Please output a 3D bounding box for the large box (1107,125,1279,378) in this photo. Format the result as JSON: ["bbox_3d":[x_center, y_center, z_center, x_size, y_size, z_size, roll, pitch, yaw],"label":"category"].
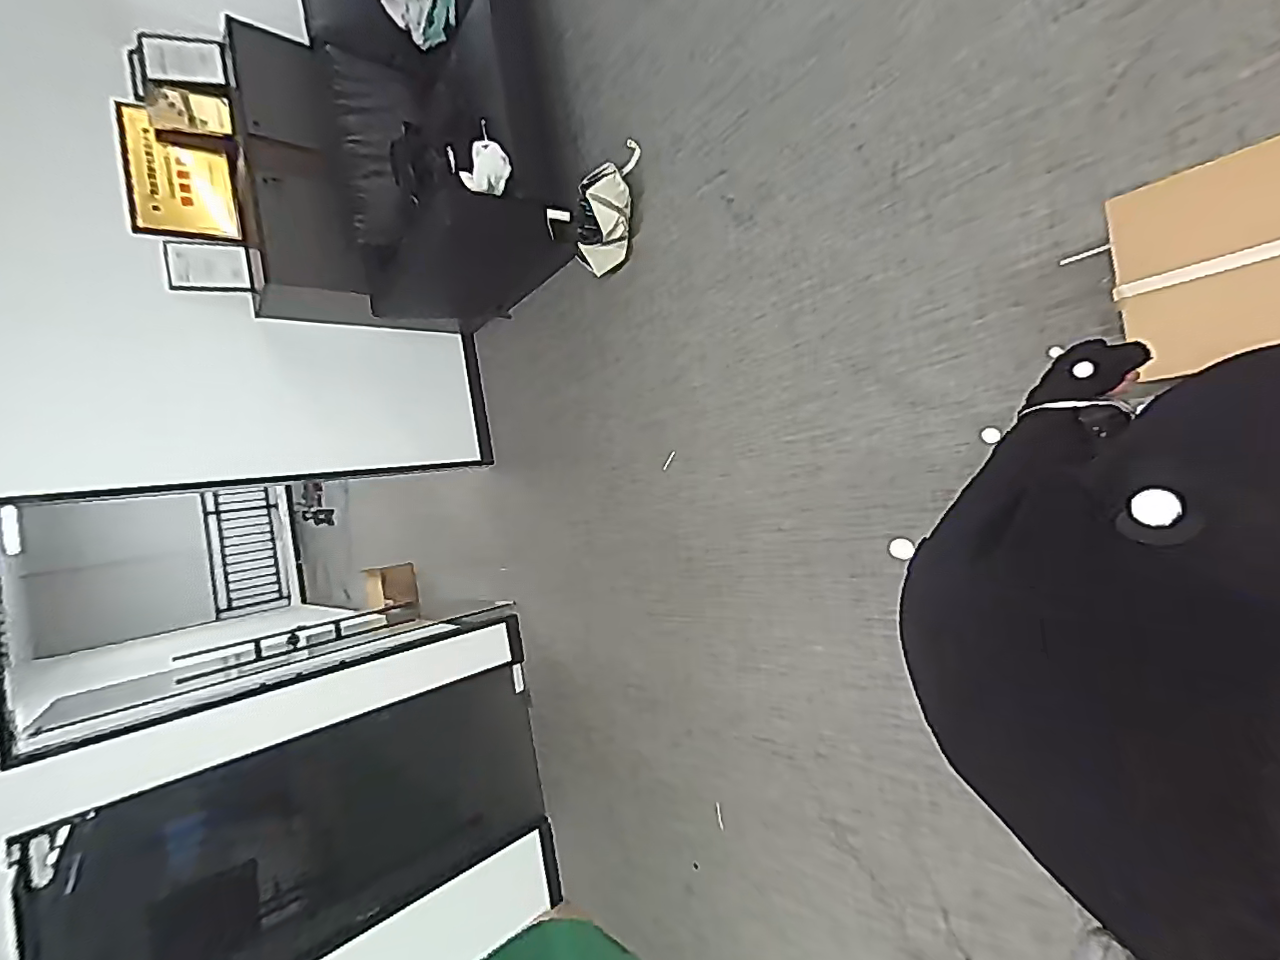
[{"bbox_3d":[1.045,-0.366,0.854,0.408,0.320,0.320,-10,89,49],"label":"large box"}]
